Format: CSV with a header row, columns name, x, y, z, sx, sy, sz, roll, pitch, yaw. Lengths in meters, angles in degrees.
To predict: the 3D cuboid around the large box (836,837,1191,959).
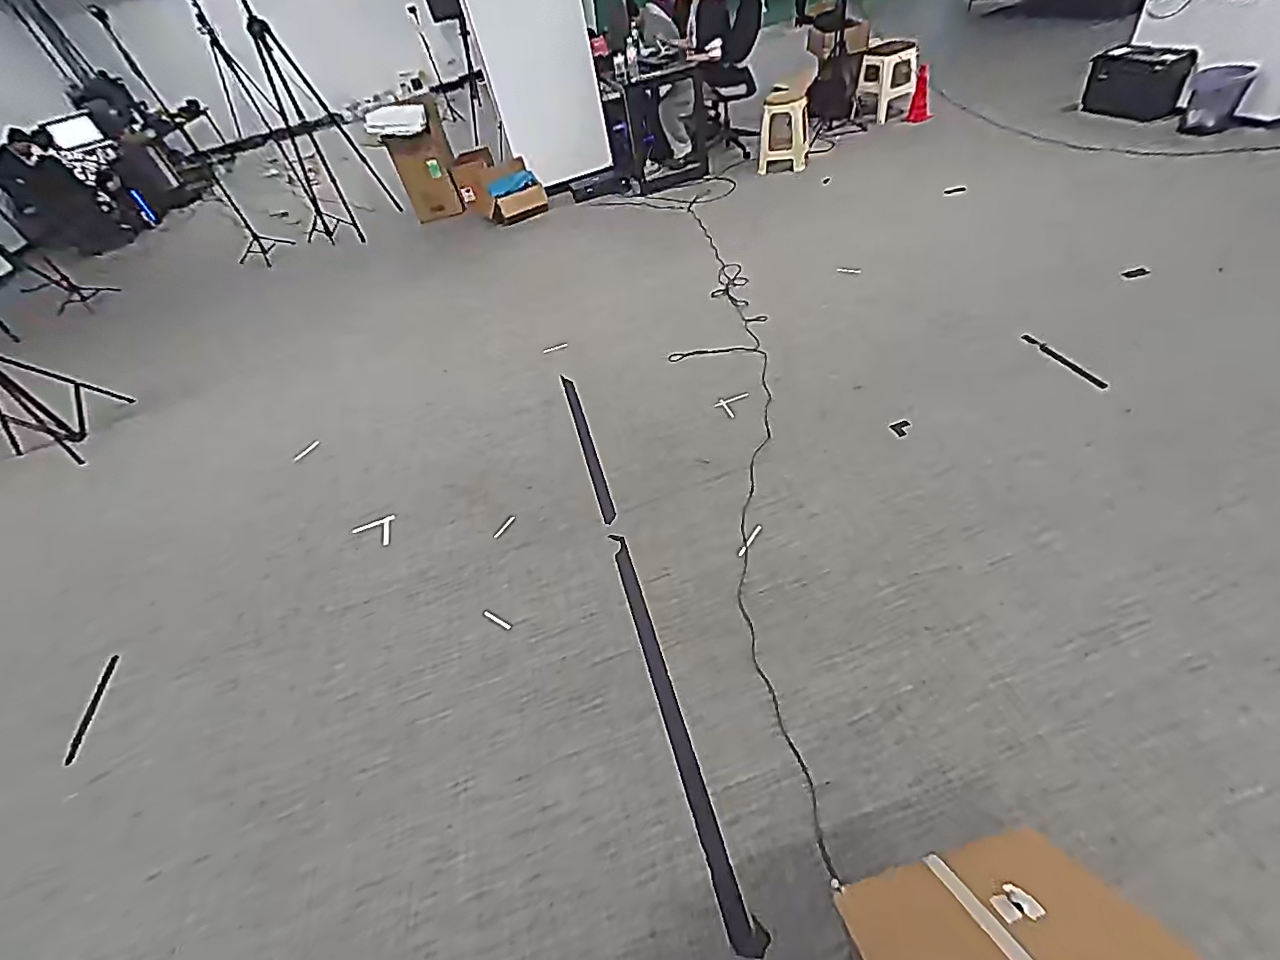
name,x,y,z,sx,sy,sz,roll,pitch,yaw
large box,0.481,0.697,0.593,0.320,0.408,0.320,-18,82,-1
